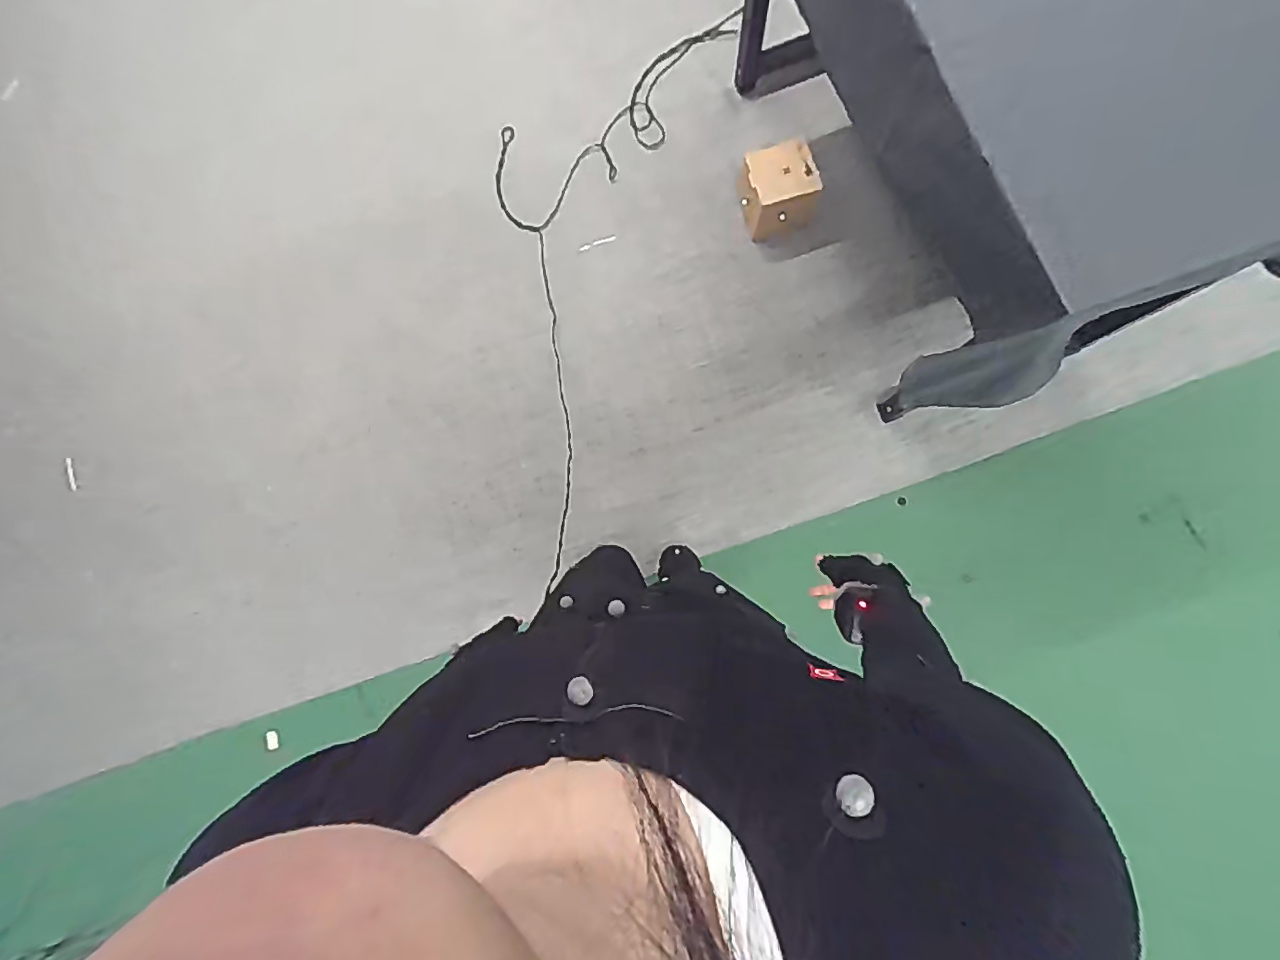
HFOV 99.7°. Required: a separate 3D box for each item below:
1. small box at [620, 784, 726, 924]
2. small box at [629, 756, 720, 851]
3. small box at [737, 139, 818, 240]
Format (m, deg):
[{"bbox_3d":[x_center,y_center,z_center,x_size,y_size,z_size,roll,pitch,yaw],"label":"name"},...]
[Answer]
[{"bbox_3d":[0.068,0.787,1.159,0.179,0.176,0.168,-19,81,1],"label":"small box"},{"bbox_3d":[0.081,0.803,1.321,0.168,0.176,0.179,-22,82,0],"label":"small box"},{"bbox_3d":[0.380,-0.815,1.537,0.179,0.176,0.168,-16,81,1],"label":"small box"}]
